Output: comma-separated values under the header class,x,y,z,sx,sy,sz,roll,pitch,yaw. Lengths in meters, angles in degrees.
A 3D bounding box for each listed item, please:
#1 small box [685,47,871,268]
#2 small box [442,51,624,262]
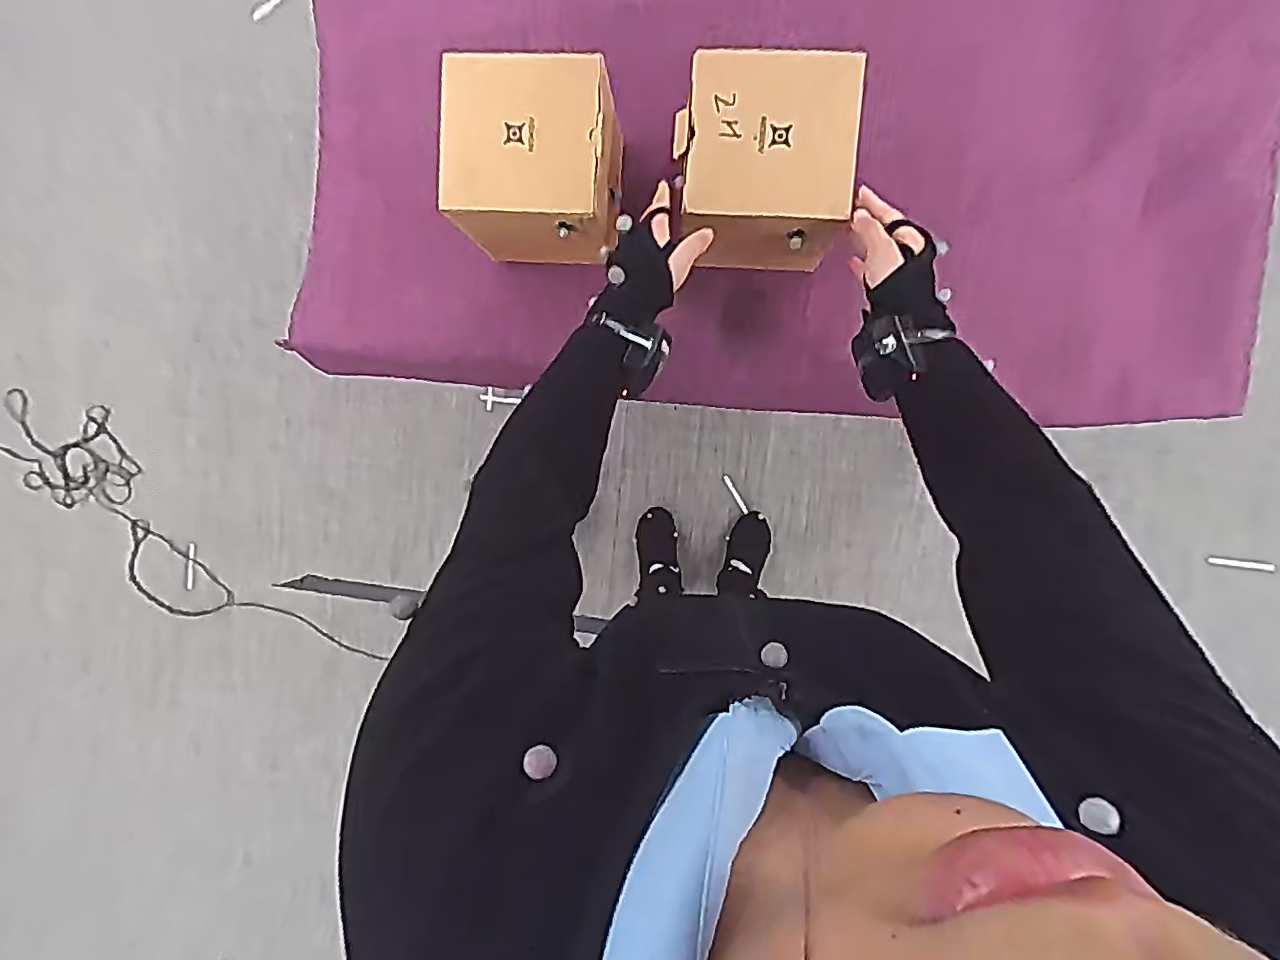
class,x,y,z,sx,sy,sz,roll,pitch,yaw
small box,0.146,-0.360,0.633,0.179,0.176,0.168,4,94,5
small box,-0.119,-0.375,0.657,0.179,0.176,0.168,3,94,4
